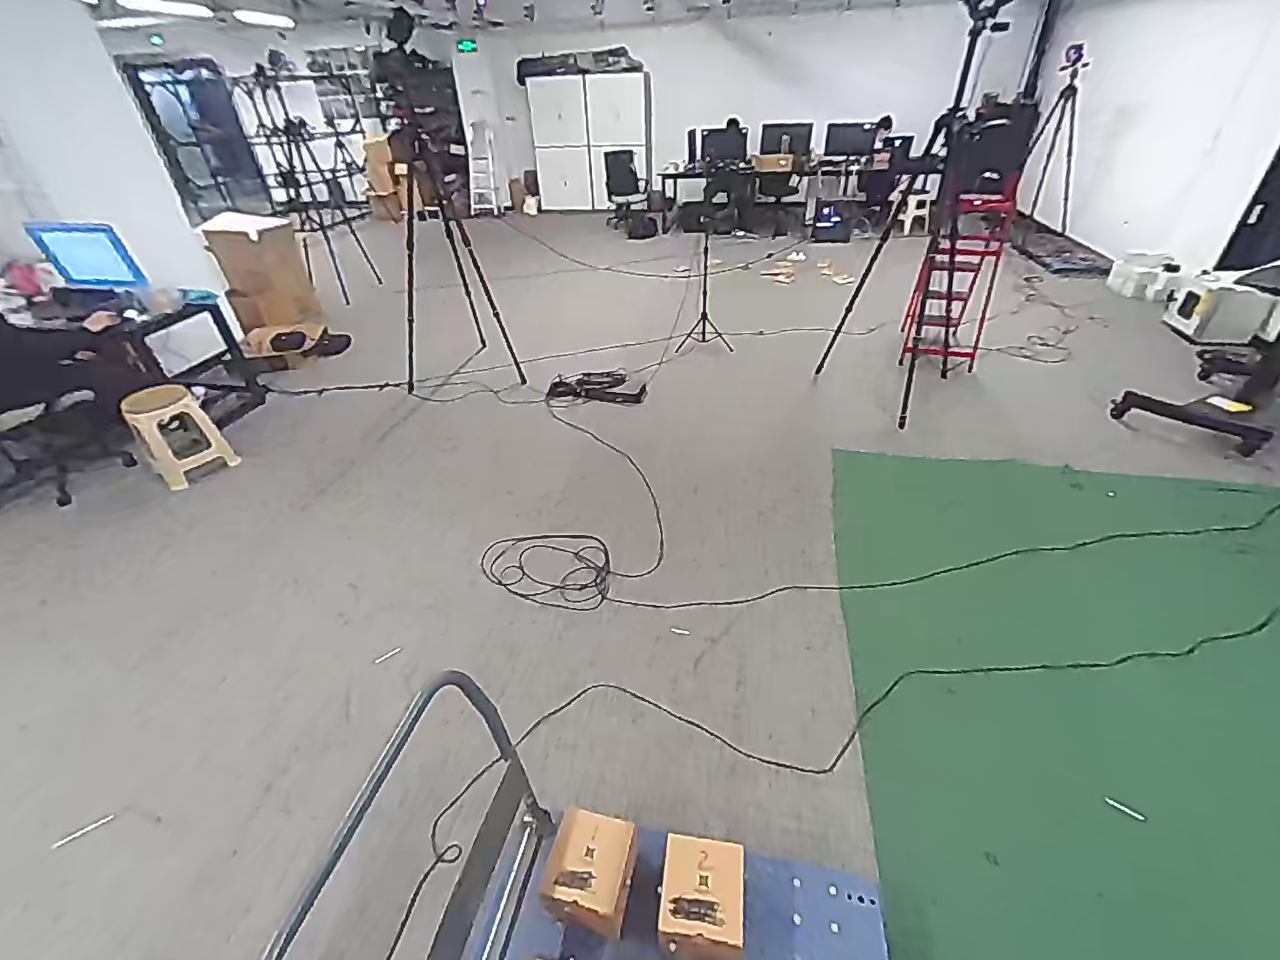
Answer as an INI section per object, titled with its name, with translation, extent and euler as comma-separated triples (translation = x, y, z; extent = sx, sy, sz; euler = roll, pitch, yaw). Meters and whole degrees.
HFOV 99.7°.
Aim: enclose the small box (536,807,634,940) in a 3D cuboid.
[small box]
translation = -0.112, 0.874, 1.200
extent = 0.168, 0.176, 0.179
euler = 7, 36, 13
